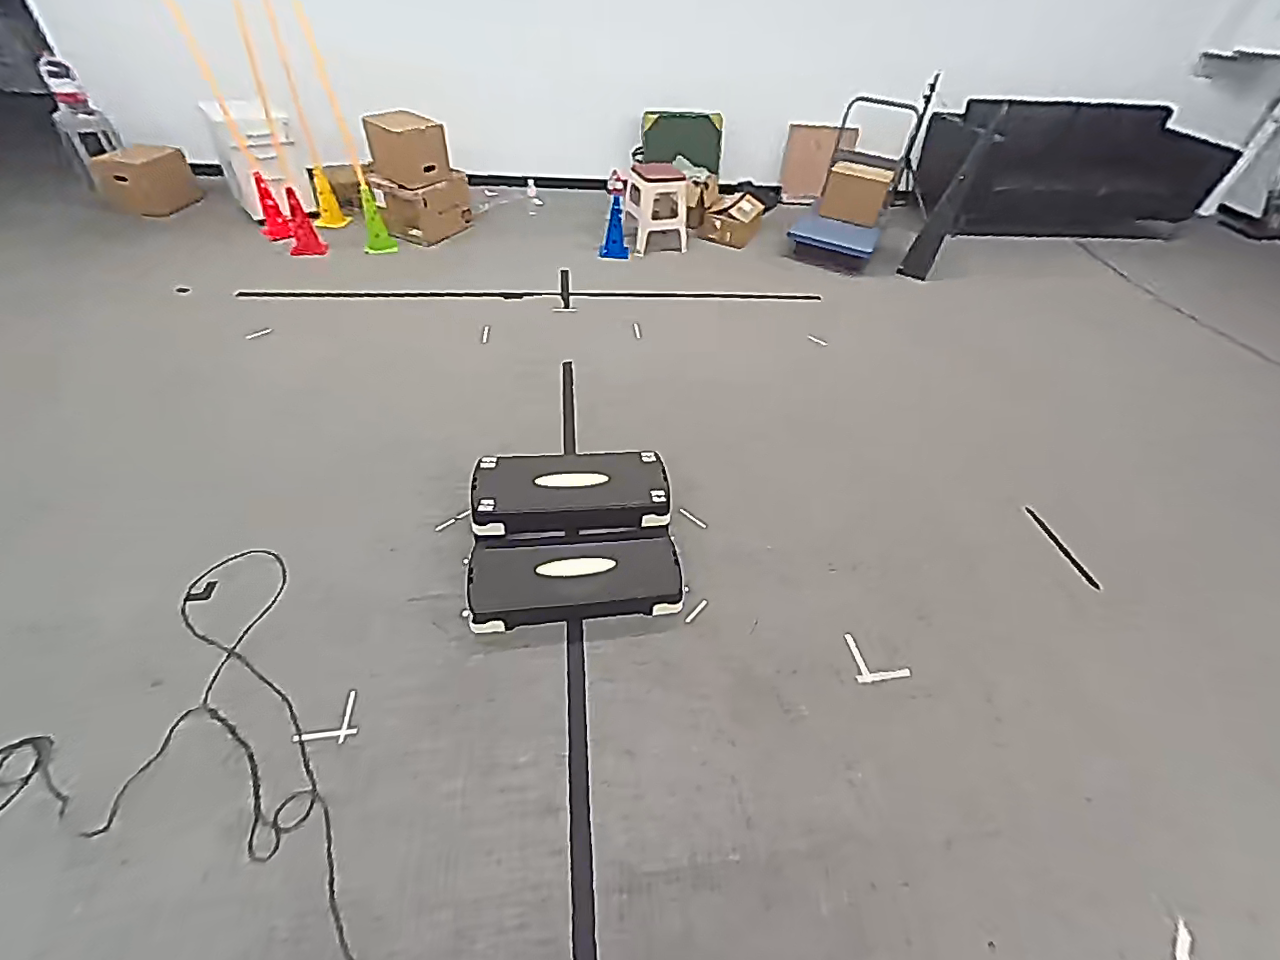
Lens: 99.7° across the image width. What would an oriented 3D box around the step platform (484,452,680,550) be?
[{"bbox_3d":[-0.201,0.063,1.918,0.684,0.204,0.286,-2,45,-10],"label":"step platform"}]
